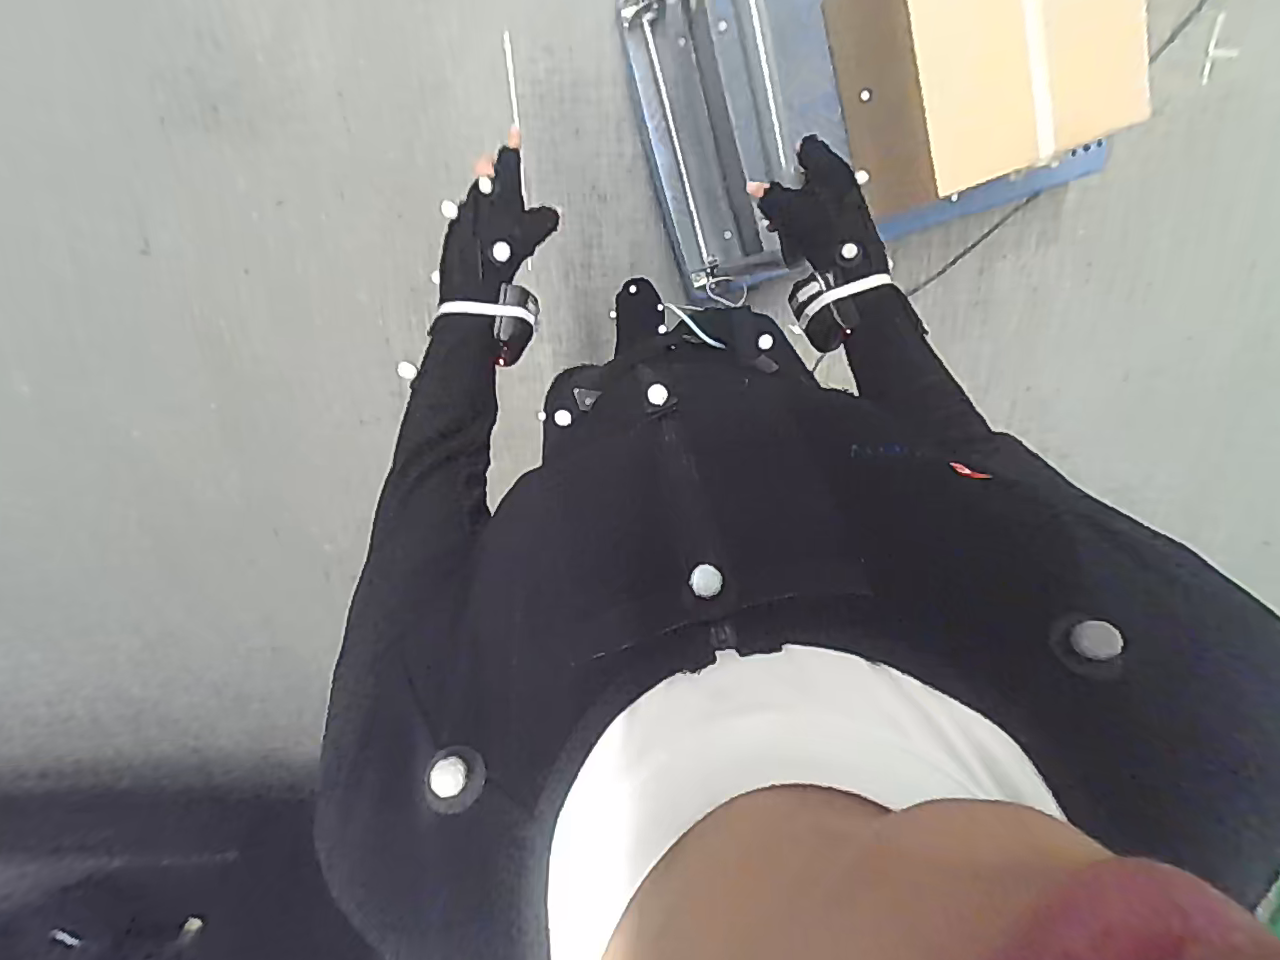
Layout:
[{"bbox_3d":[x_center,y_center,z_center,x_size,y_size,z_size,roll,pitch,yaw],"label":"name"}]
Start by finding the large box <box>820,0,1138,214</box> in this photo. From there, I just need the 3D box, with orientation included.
[{"bbox_3d":[0.536,-0.727,0.908,0.320,0.320,0.408,-18,107,7],"label":"large box"}]
